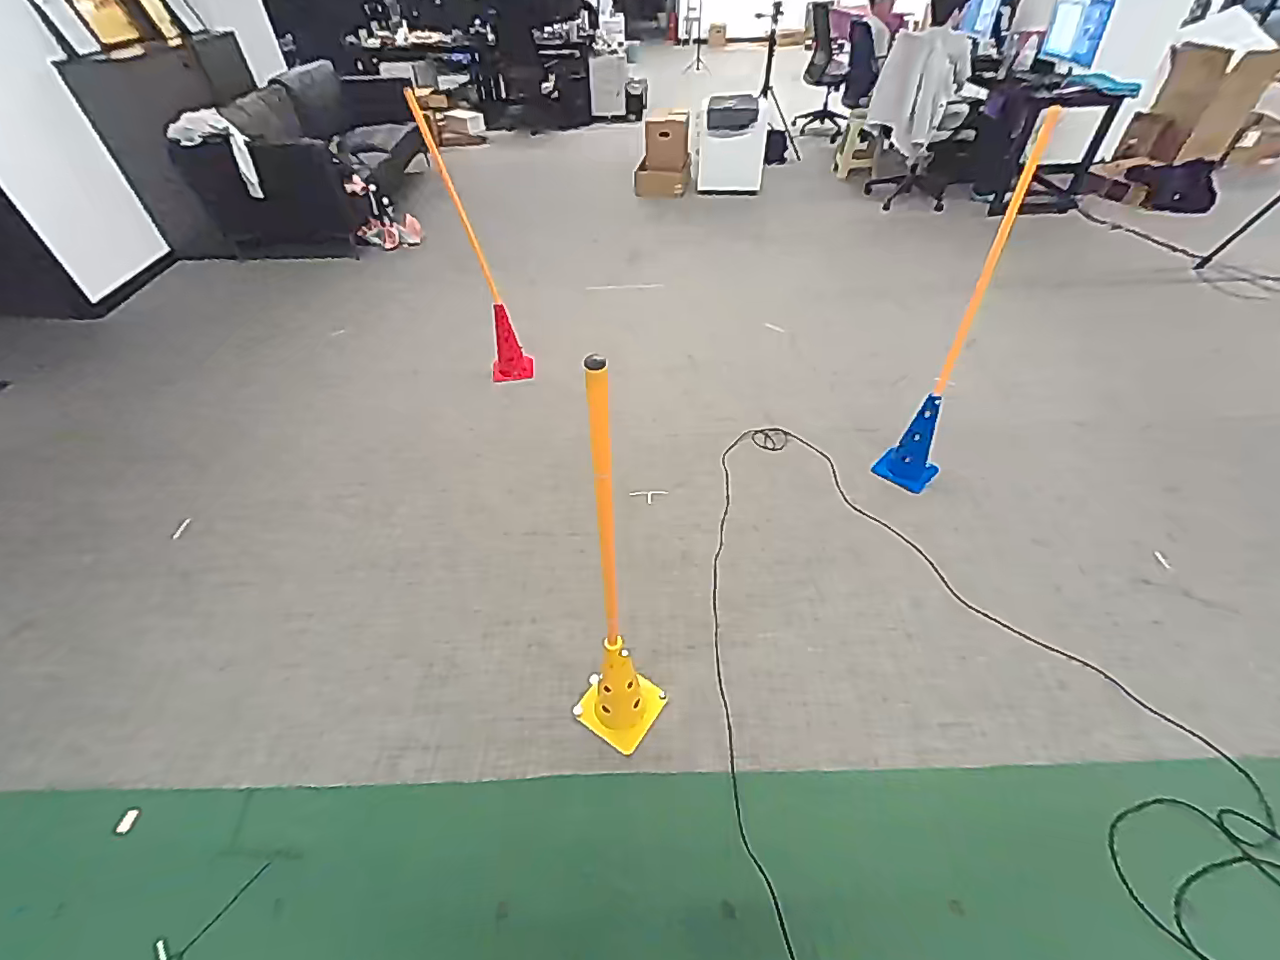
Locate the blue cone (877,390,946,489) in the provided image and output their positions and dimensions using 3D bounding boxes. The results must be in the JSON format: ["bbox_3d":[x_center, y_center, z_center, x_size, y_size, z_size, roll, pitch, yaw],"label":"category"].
[{"bbox_3d":[1.044,-0.169,2.016,0.192,0.380,0.193,32,51,30],"label":"blue cone"}]
